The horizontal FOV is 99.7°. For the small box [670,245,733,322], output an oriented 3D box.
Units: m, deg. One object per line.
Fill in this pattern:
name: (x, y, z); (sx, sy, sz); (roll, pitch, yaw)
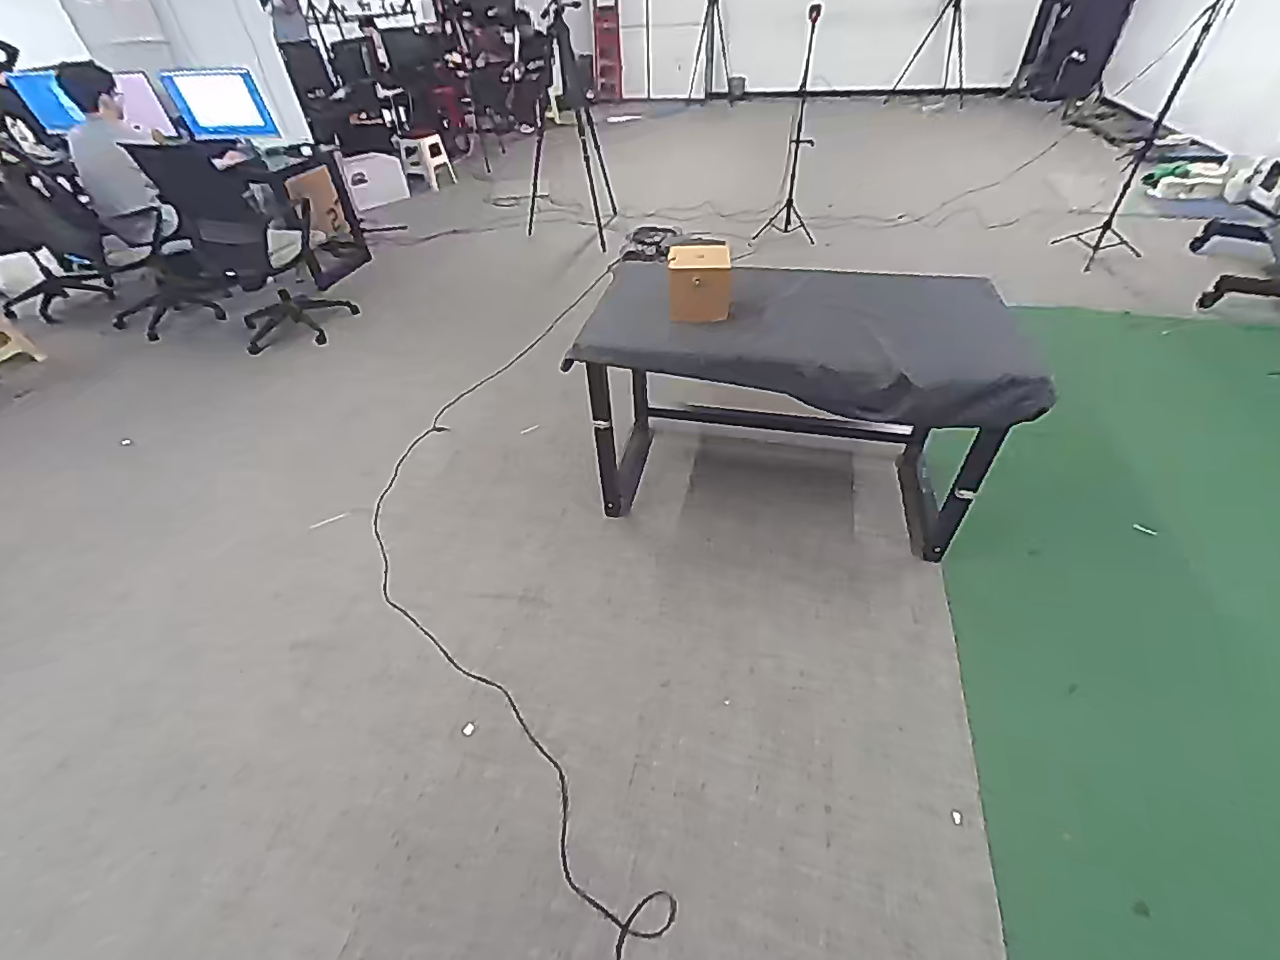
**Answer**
small box: (0.179, -0.582, 1.604); (0.179, 0.176, 0.168); (2, 44, 4)
